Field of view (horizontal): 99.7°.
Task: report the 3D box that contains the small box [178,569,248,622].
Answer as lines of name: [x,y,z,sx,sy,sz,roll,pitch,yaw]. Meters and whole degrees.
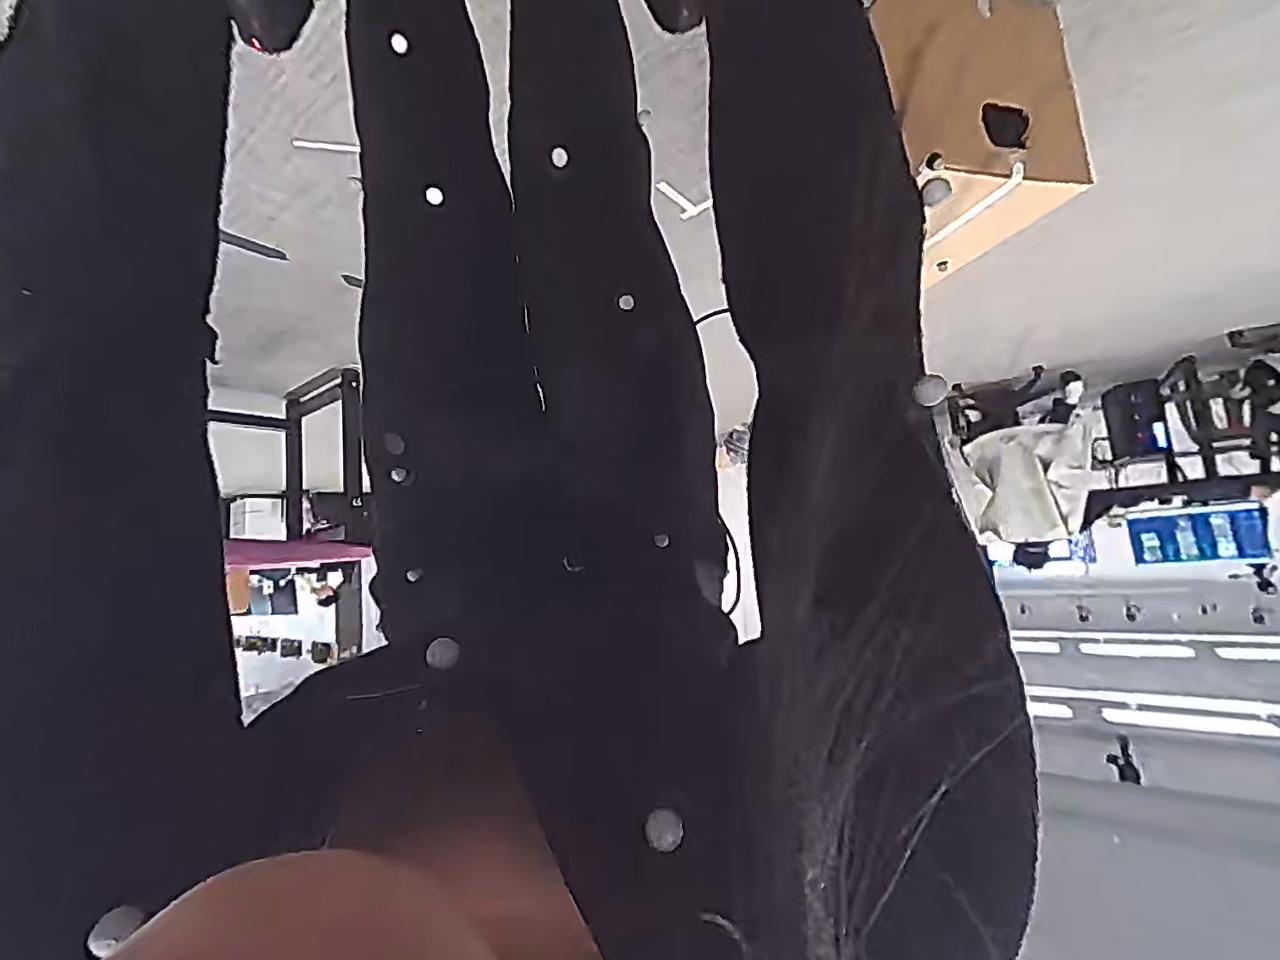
small box: [-1.599,0.427,2.019,0.179,0.176,0.168,-13,170,33]
